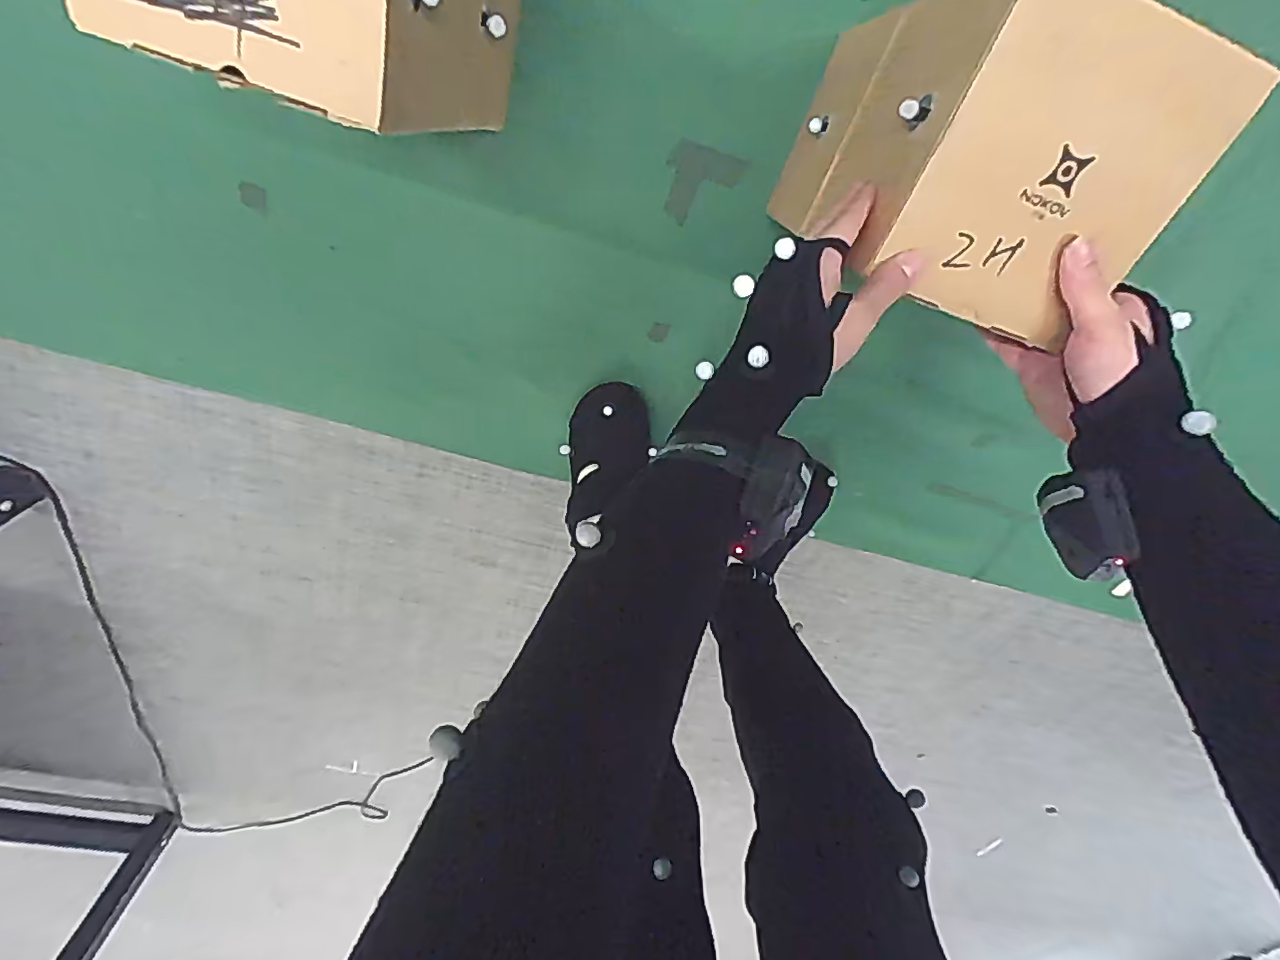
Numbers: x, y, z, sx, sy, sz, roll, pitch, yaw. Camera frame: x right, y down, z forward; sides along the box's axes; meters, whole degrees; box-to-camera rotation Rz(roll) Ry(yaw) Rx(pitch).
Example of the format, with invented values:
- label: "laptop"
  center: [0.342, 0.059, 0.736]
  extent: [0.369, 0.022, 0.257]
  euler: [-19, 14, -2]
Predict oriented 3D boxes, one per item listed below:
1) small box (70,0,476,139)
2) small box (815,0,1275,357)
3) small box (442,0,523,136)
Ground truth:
- label: "small box"
  center: [-0.200, -0.333, 0.327]
  extent: [0.168, 0.176, 0.179]
  euler: [15, 122, -10]
- label: "small box"
  center: [0.254, -0.222, 0.399]
  extent: [0.168, 0.176, 0.179]
  euler: [16, 122, -10]
- label: "small box"
  center: [-0.200, -0.423, 0.464]
  extent: [0.168, 0.176, 0.179]
  euler: [15, 123, -10]
